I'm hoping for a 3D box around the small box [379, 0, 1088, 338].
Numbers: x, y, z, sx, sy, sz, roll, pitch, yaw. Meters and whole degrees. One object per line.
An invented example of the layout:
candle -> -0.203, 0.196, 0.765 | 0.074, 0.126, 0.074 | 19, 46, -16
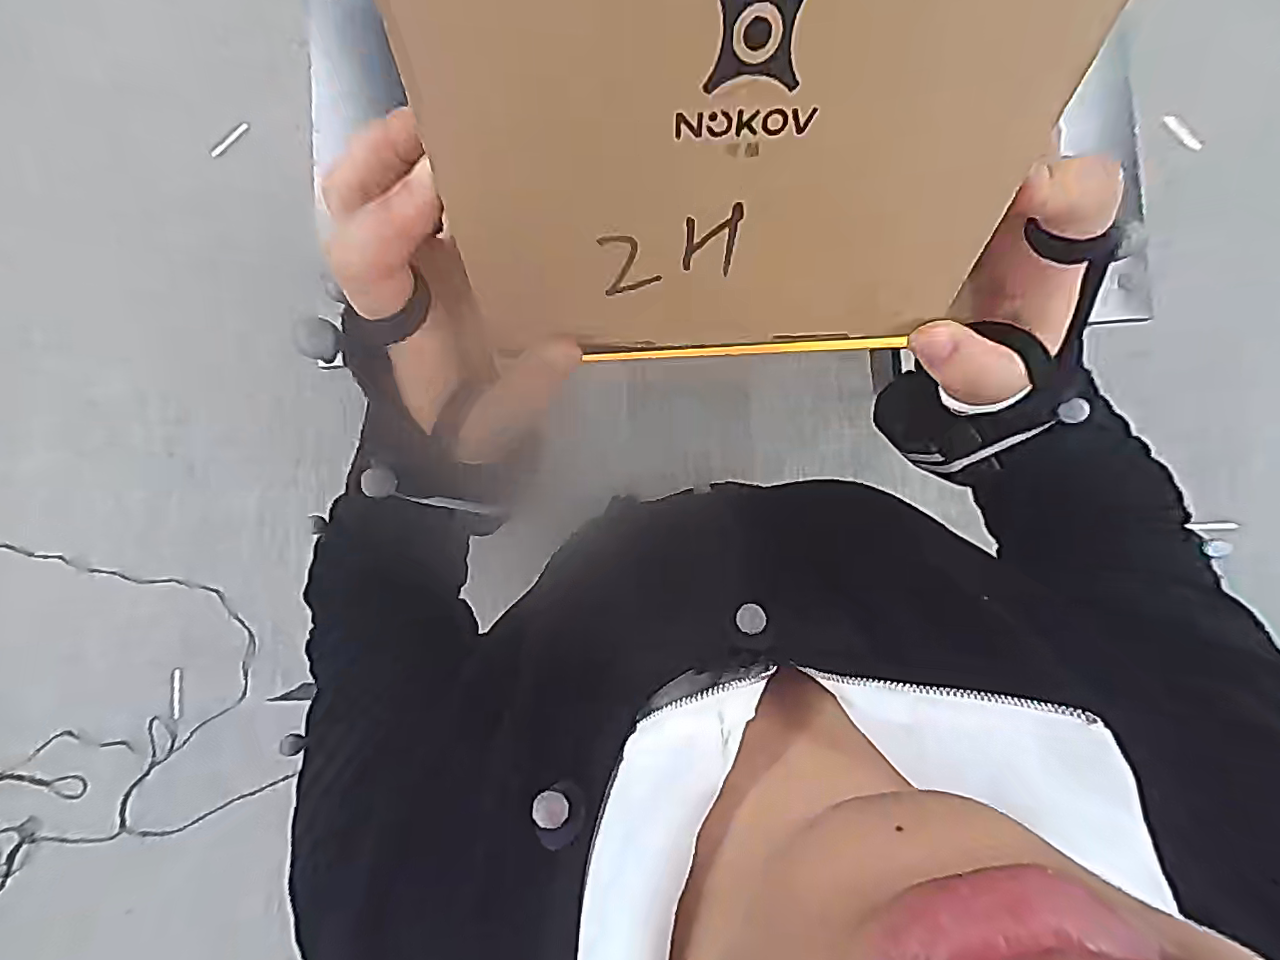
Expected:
small box -> 0.019, -0.171, 0.176 | 0.168, 0.179, 0.176 | -2, 57, 0
